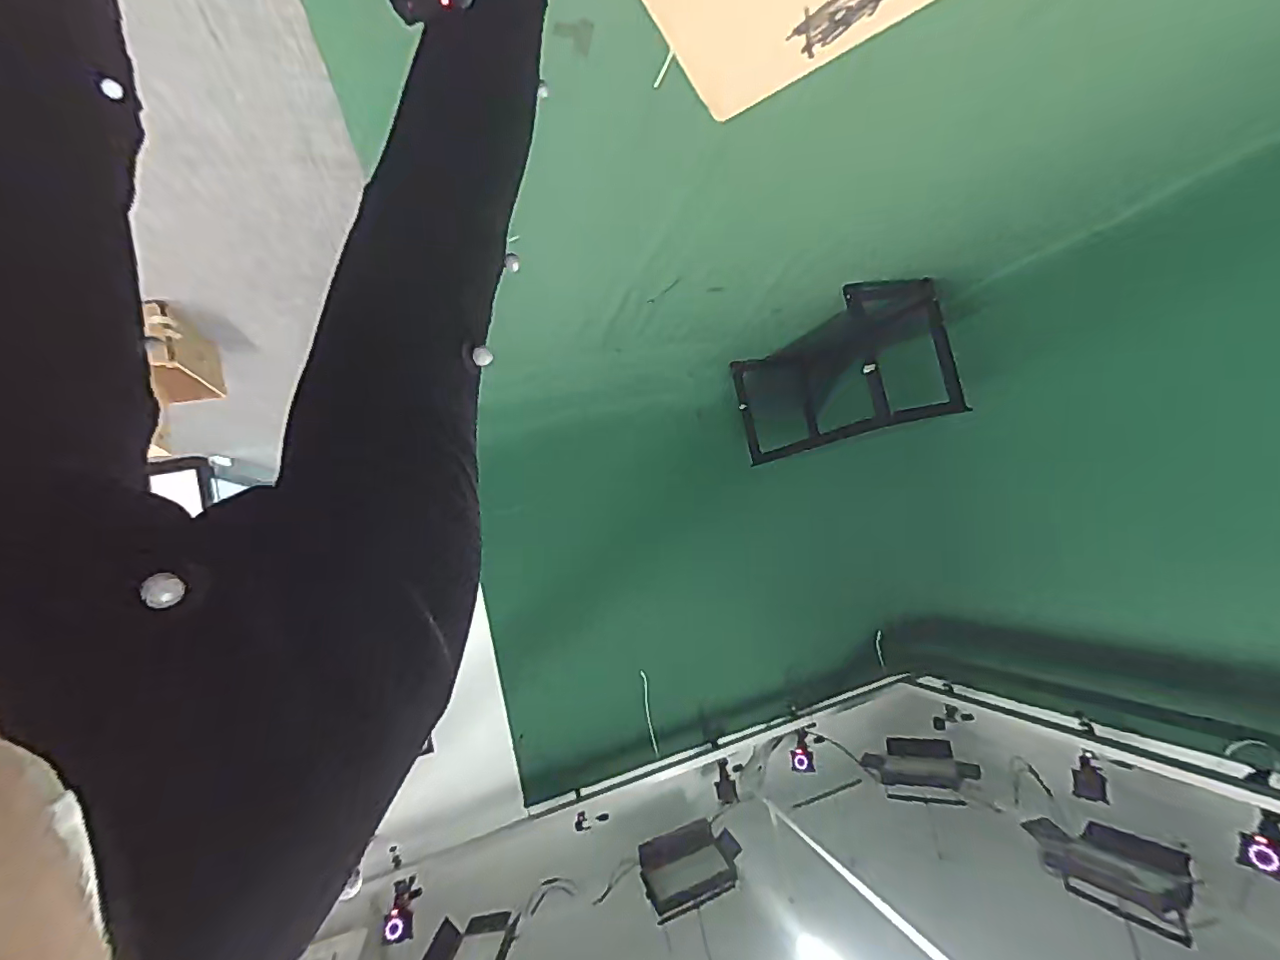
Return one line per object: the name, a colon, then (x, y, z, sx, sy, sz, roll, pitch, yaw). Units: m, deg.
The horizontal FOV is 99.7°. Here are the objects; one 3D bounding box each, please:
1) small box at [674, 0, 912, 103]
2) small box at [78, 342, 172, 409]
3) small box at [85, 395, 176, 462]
small box: (0.056, -0.283, 0.164, 0.168, 0.176, 0.179, -15, 173, 27)
small box: (-1.608, -0.322, 1.696, 0.168, 0.176, 0.179, -7, 173, -22)
small box: (-1.582, -0.161, 1.685, 0.168, 0.176, 0.179, -8, 174, -26)
